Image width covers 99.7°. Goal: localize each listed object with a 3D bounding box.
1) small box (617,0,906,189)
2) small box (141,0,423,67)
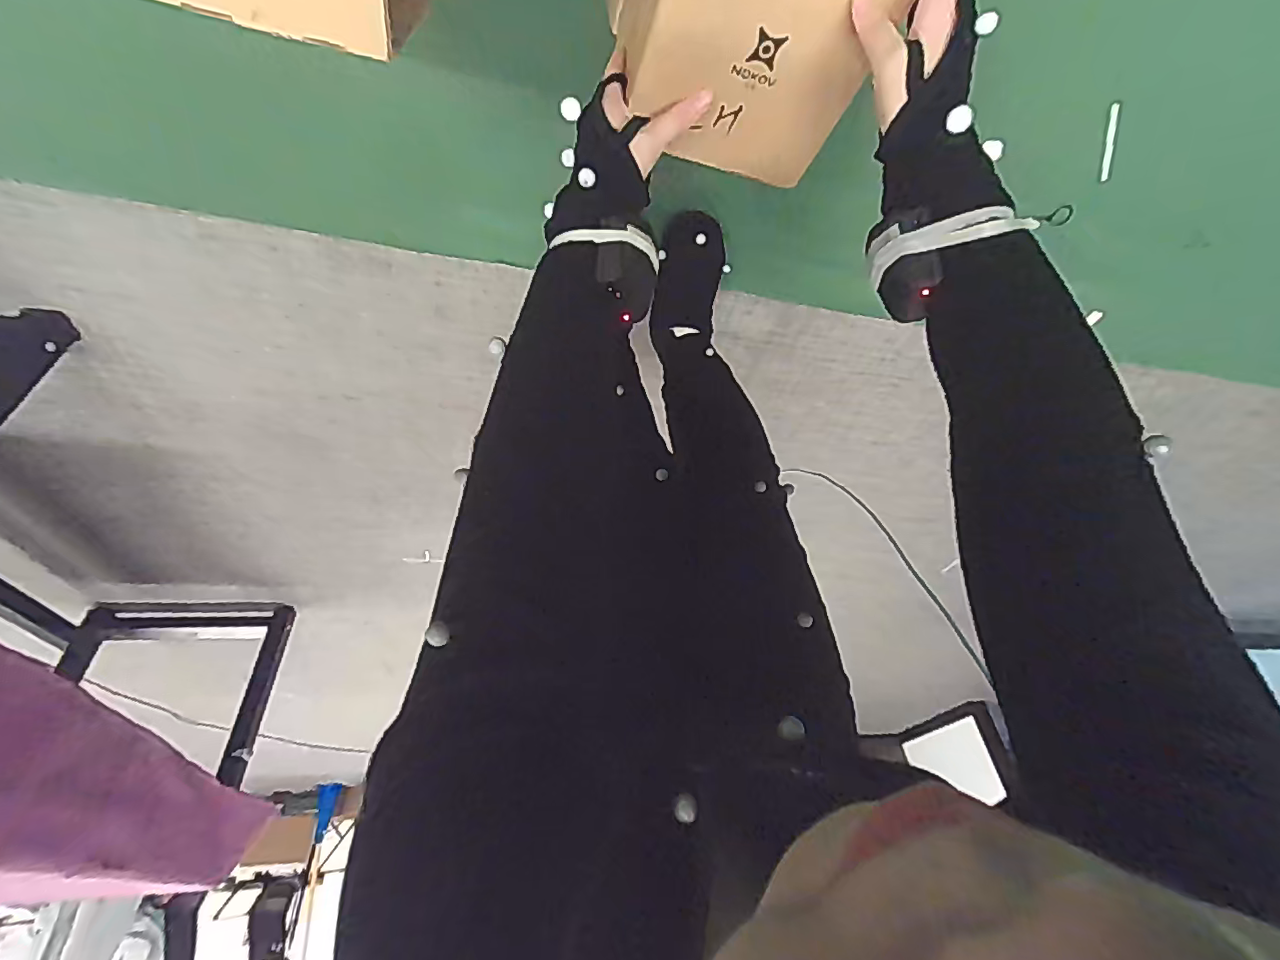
[{"bbox_3d":[0.080,-0.381,0.428,0.168,0.176,0.179,6,155,-17],"label":"small box"},{"bbox_3d":[-0.252,-0.435,0.373,0.168,0.176,0.179,6,141,-14],"label":"small box"}]
